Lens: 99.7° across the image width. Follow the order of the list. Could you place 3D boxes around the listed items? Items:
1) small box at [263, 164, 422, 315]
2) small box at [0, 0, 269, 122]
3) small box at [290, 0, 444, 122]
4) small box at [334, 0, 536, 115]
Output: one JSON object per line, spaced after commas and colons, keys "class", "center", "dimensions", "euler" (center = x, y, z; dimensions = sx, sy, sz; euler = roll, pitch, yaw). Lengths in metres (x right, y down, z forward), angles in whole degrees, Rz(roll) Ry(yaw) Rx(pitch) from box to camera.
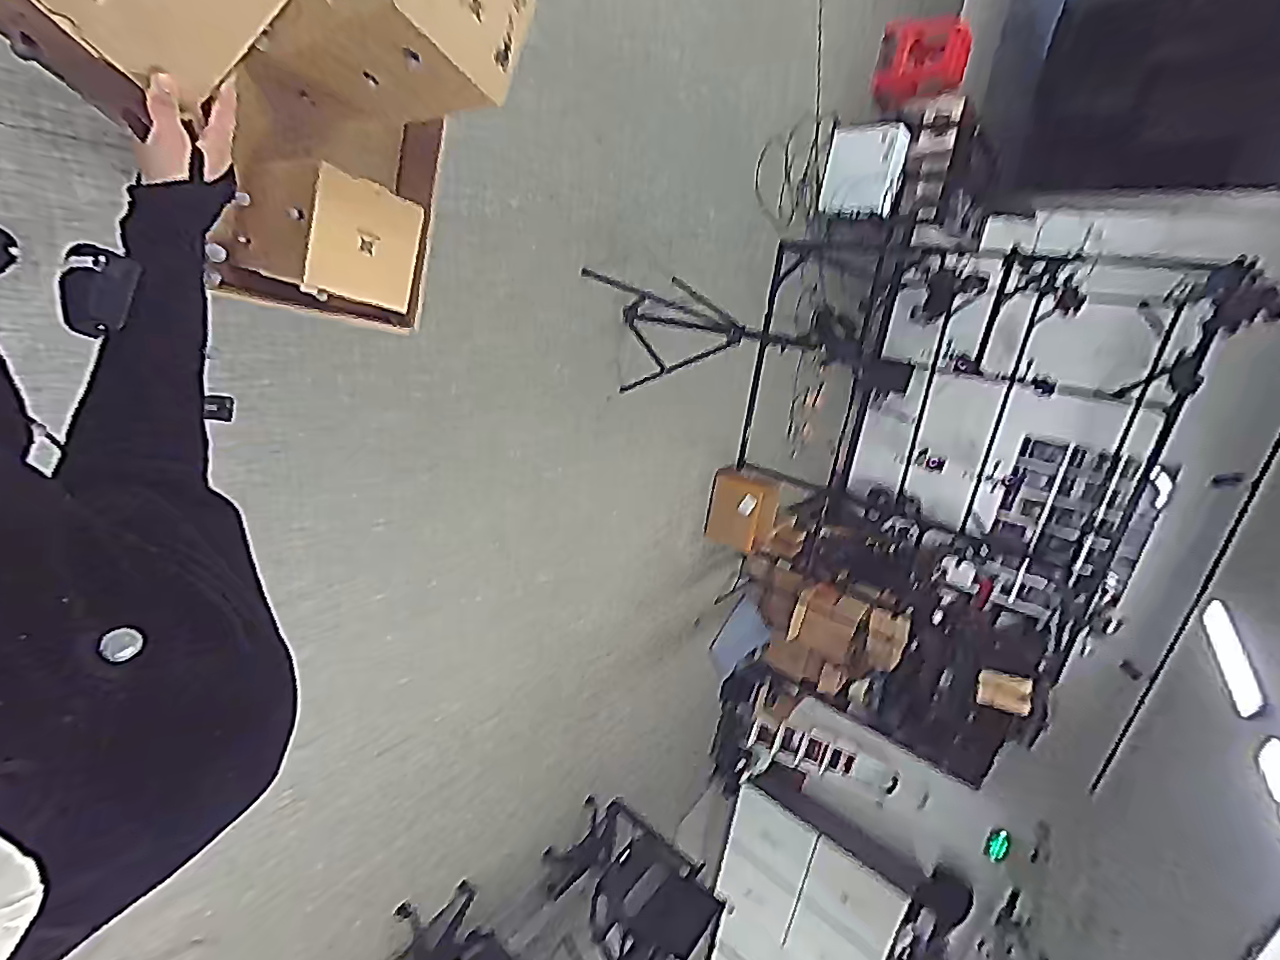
{"class": "small box", "center": [-0.491, -0.387, 0.888], "dimensions": [0.168, 0.176, 0.179], "euler": [2, 105, -55]}
{"class": "small box", "center": [-0.465, -0.442, 0.459], "dimensions": [0.179, 0.176, 0.168], "euler": [-62, 148, -10]}
{"class": "small box", "center": [-0.407, -0.690, 0.842], "dimensions": [0.179, 0.176, 0.168], "euler": [11, 99, -56]}
{"class": "small box", "center": [-0.283, -0.639, 0.745], "dimensions": [0.179, 0.176, 0.168], "euler": [18, 93, -55]}
